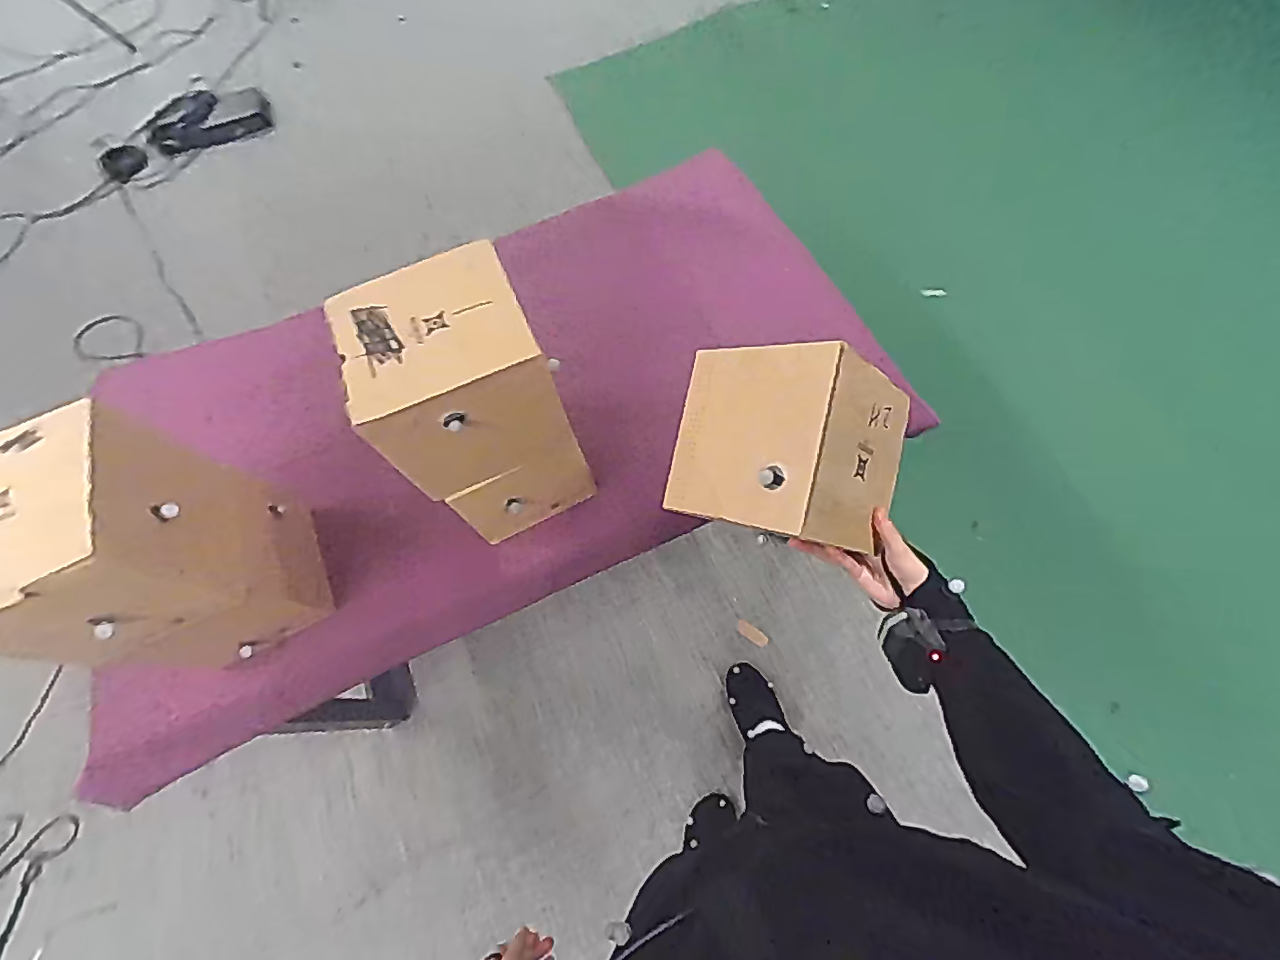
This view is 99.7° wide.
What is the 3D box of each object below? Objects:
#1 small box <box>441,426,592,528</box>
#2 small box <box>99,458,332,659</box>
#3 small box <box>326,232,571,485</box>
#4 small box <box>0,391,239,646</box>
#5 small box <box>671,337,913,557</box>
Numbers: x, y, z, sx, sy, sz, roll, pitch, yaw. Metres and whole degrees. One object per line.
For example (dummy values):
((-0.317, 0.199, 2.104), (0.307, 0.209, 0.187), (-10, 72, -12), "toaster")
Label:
((-0.179, -0.053, 0.728), (0.168, 0.176, 0.179), (-26, 65, -6), "small box")
((-0.531, 0.108, 0.687), (0.168, 0.176, 0.179), (-26, 68, -6), "small box")
((-0.193, -0.118, 0.578), (0.179, 0.176, 0.168), (-23, 65, -6), "small box")
((-0.538, 0.051, 0.533), (0.168, 0.176, 0.179), (-25, 68, -6), "small box")
((0.154, -0.032, 0.563), (0.176, 0.168, 0.179), (11, 86, 44), "small box")
